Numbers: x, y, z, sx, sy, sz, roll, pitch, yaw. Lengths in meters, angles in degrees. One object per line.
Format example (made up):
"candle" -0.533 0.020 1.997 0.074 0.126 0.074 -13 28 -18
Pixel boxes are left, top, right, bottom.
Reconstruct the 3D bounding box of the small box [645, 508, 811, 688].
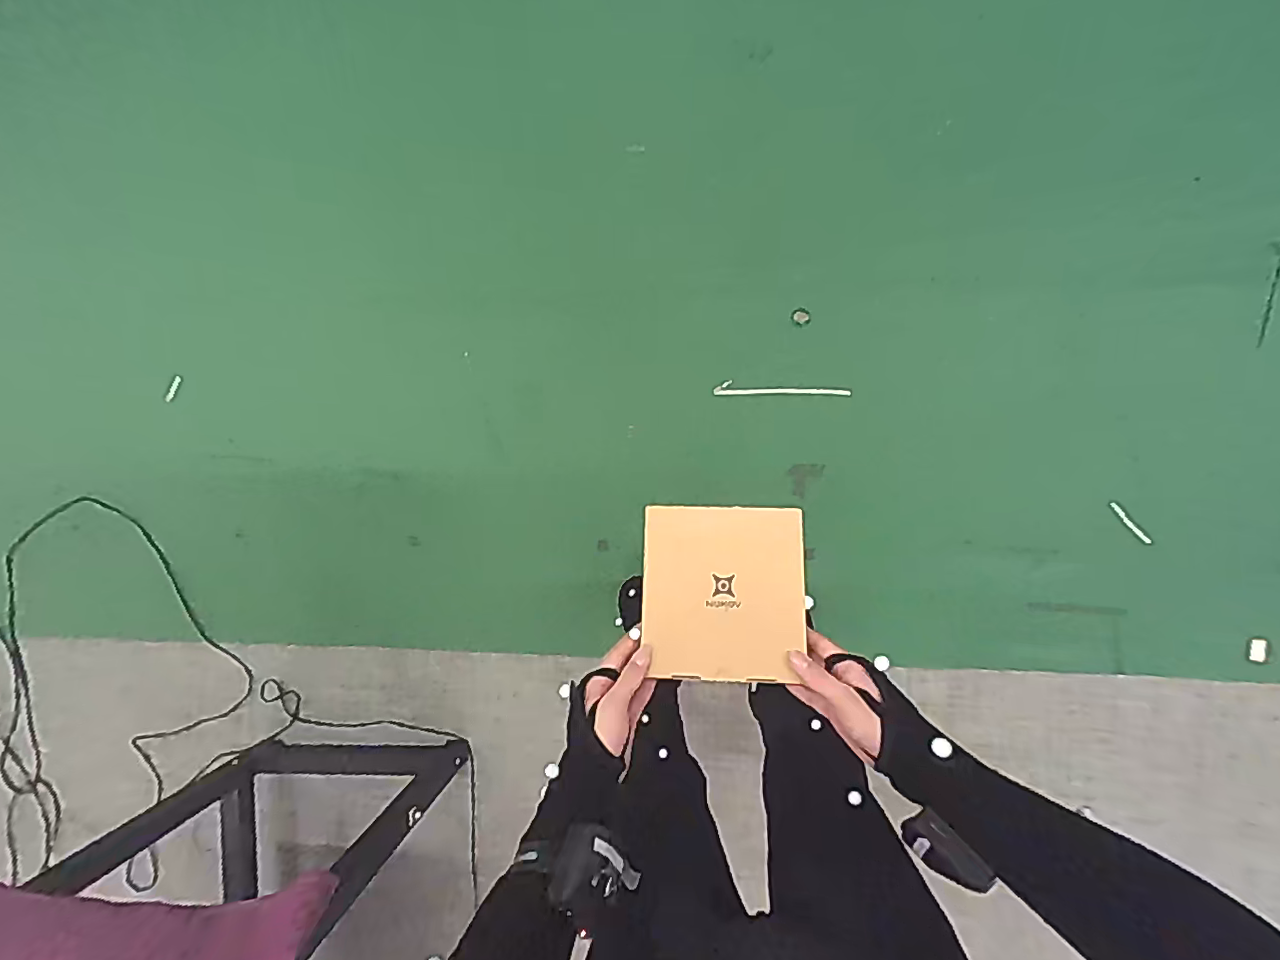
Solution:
"small box" 0.093 0.136 0.628 0.168 0.176 0.179 2 77 3
